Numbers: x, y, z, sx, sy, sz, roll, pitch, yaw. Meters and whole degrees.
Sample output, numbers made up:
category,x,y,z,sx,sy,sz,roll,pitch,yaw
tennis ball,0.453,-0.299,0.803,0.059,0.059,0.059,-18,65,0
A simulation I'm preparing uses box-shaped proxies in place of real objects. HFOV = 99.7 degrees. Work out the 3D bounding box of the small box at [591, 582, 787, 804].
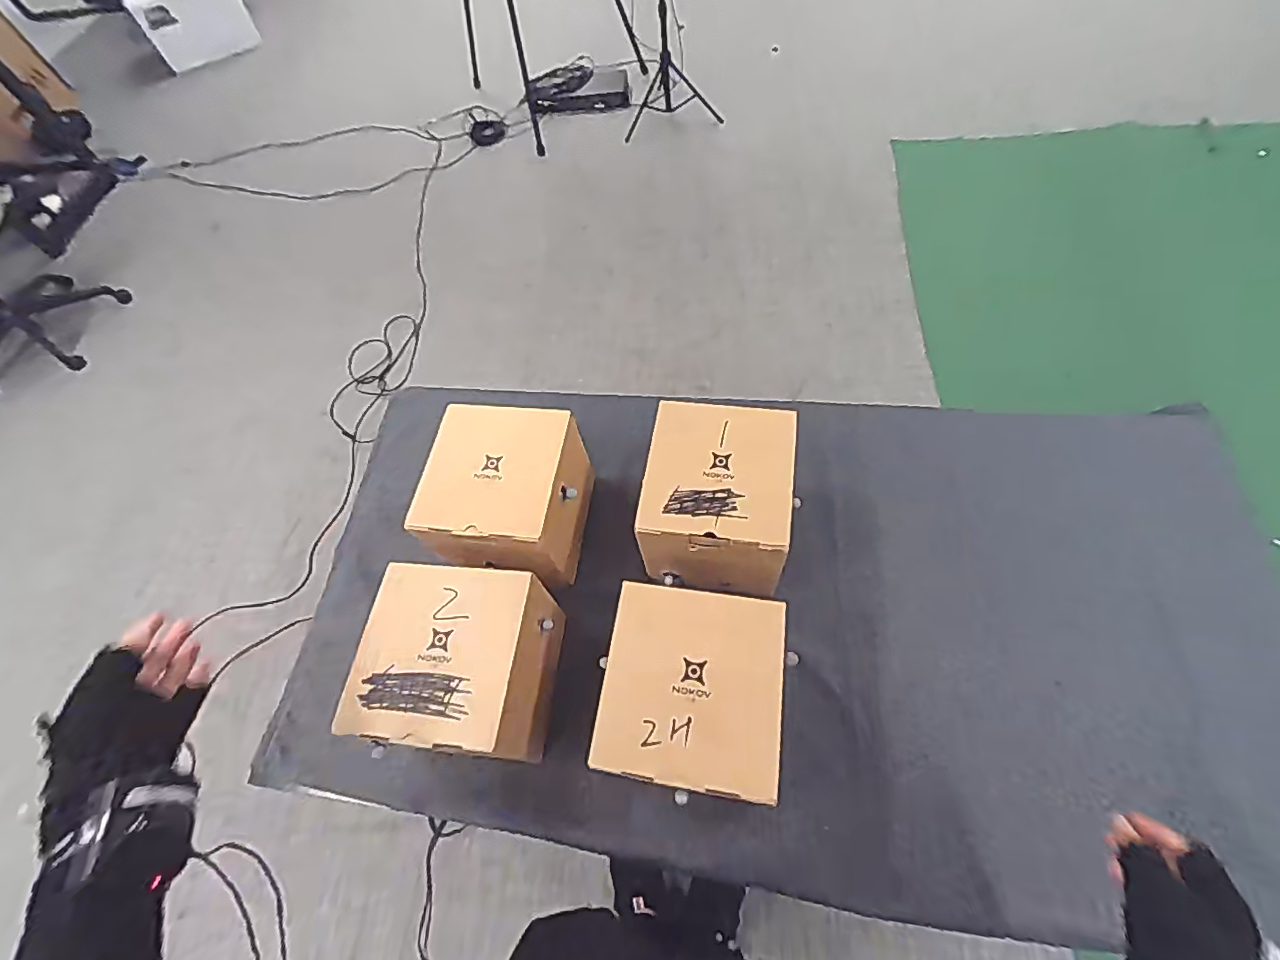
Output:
category,x,y,z,sx,sy,sz,roll,pitch,yaw
small box,0.057,0.227,0.573,0.168,0.176,0.179,6,62,10
